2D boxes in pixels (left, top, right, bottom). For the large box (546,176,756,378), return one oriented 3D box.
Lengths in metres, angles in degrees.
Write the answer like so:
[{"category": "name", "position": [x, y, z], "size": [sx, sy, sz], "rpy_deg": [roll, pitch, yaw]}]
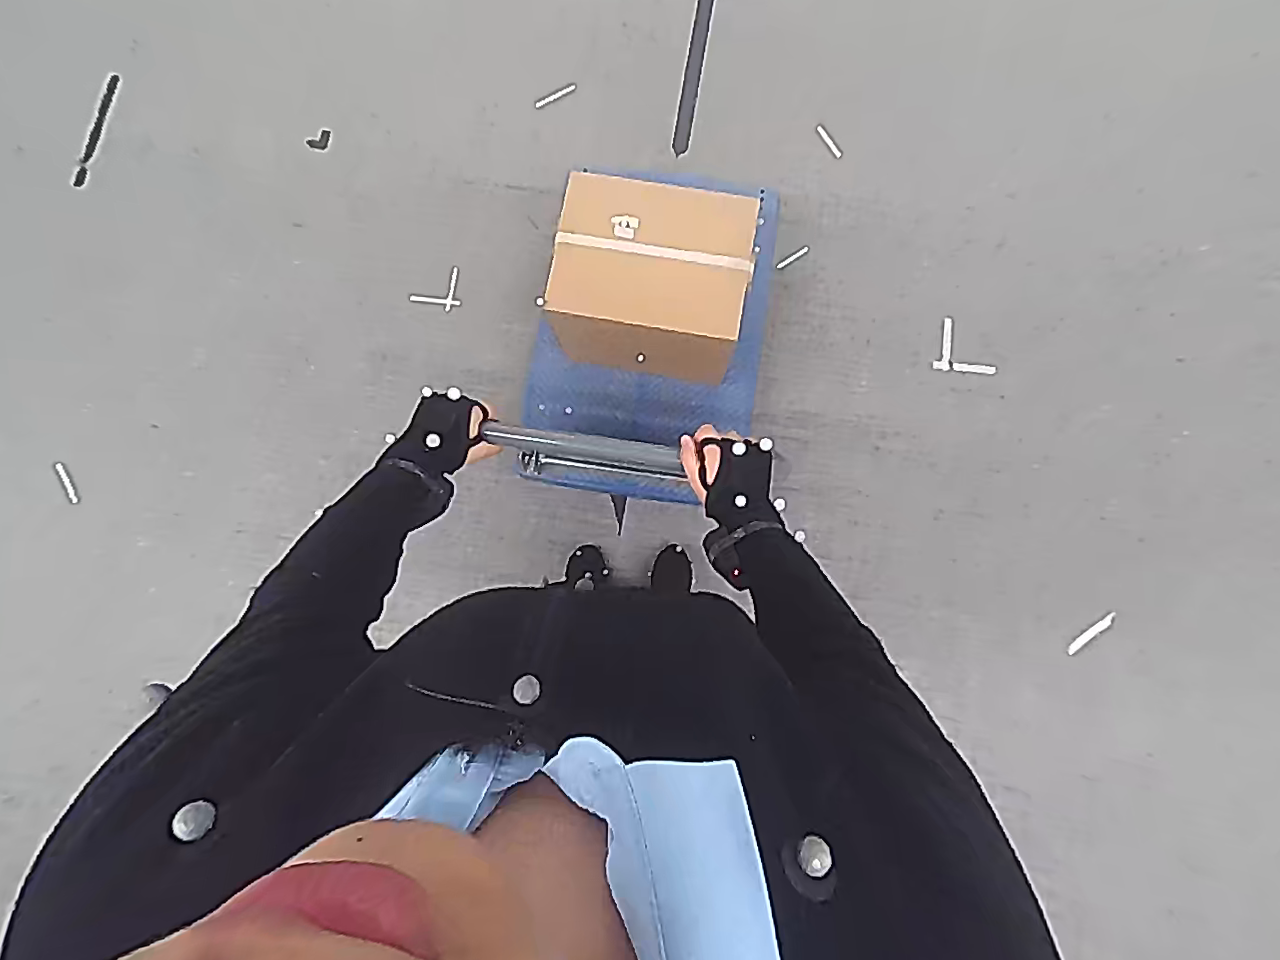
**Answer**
[{"category": "large box", "position": [0.032, -0.453, 1.269], "size": [0.408, 0.320, 0.320], "rpy_deg": [10, 82, 4]}]
